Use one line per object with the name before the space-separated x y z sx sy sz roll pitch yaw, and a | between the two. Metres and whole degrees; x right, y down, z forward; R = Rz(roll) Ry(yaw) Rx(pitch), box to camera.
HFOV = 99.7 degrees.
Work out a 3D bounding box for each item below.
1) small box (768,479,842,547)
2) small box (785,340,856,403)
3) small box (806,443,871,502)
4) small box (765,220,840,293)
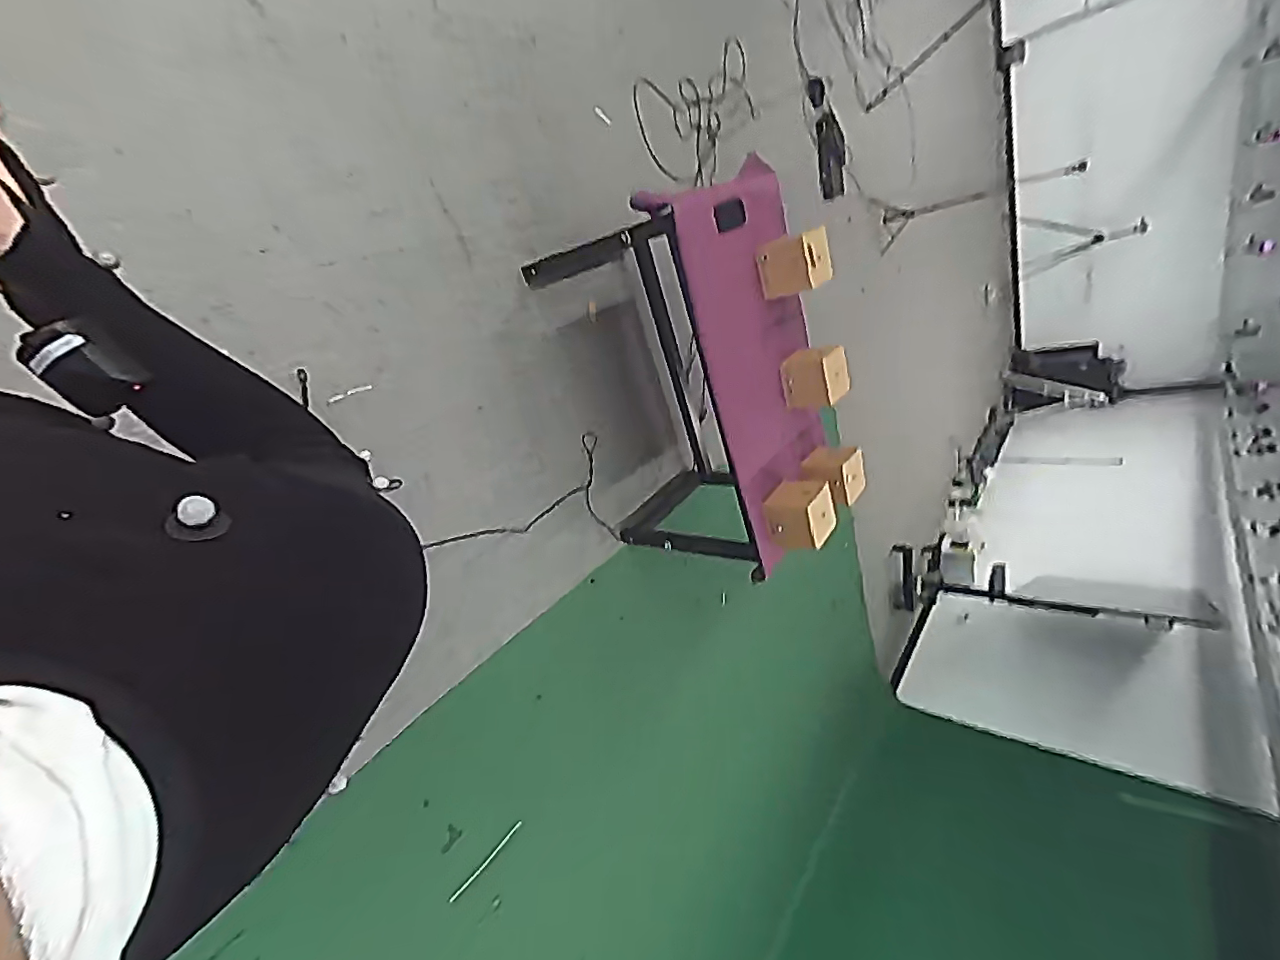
small box | 0.559 0.104 1.831 0.179 0.176 0.168 -38 117 -38
small box | 0.629 -0.378 1.883 0.179 0.176 0.168 -36 117 -38
small box | 0.743 -0.031 2.022 0.179 0.176 0.168 -35 116 -40
small box | 0.516 -0.716 1.740 0.179 0.176 0.168 -38 119 -39
